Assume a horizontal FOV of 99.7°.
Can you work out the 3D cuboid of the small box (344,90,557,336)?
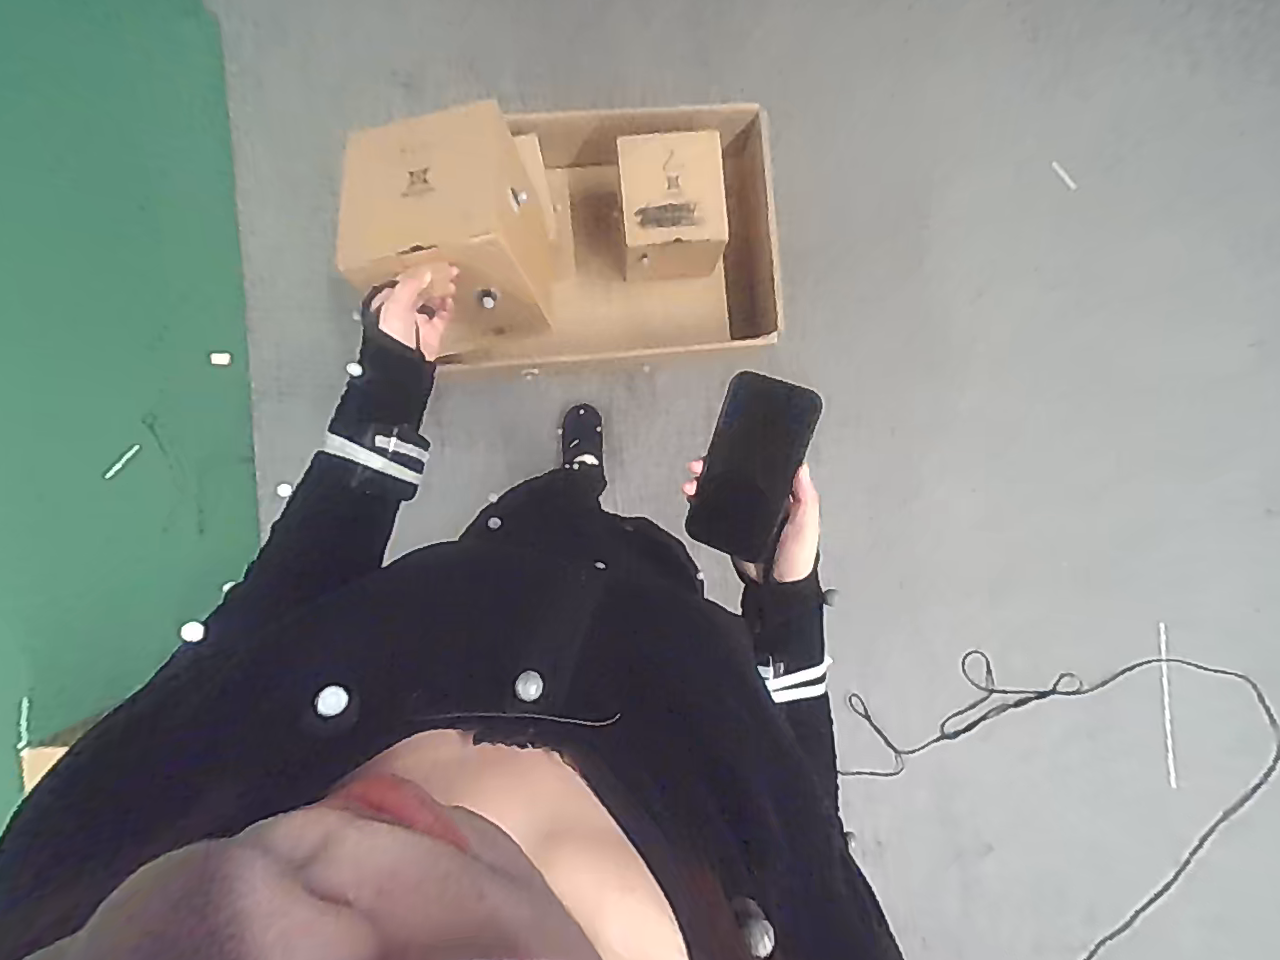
[{"bbox_3d":[-0.197,-0.280,0.607,0.168,0.176,0.179,-8,70,8],"label":"small box"}]
